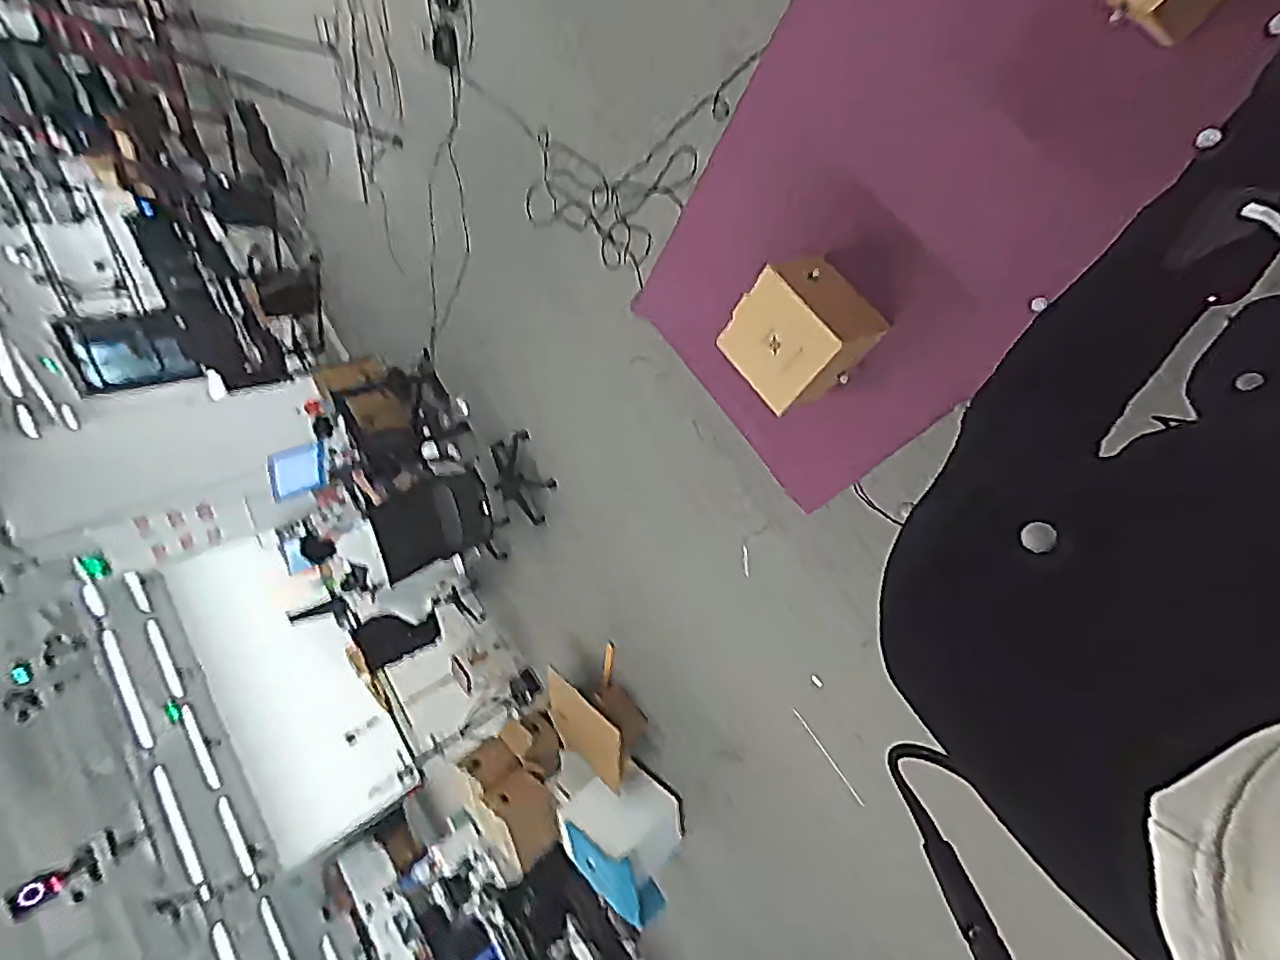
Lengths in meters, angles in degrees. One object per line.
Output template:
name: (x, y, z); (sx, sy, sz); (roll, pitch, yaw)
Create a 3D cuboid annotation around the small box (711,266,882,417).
small box: (0.259, -0.236, 0.904); (0.179, 0.176, 0.168); (54, 140, 15)
